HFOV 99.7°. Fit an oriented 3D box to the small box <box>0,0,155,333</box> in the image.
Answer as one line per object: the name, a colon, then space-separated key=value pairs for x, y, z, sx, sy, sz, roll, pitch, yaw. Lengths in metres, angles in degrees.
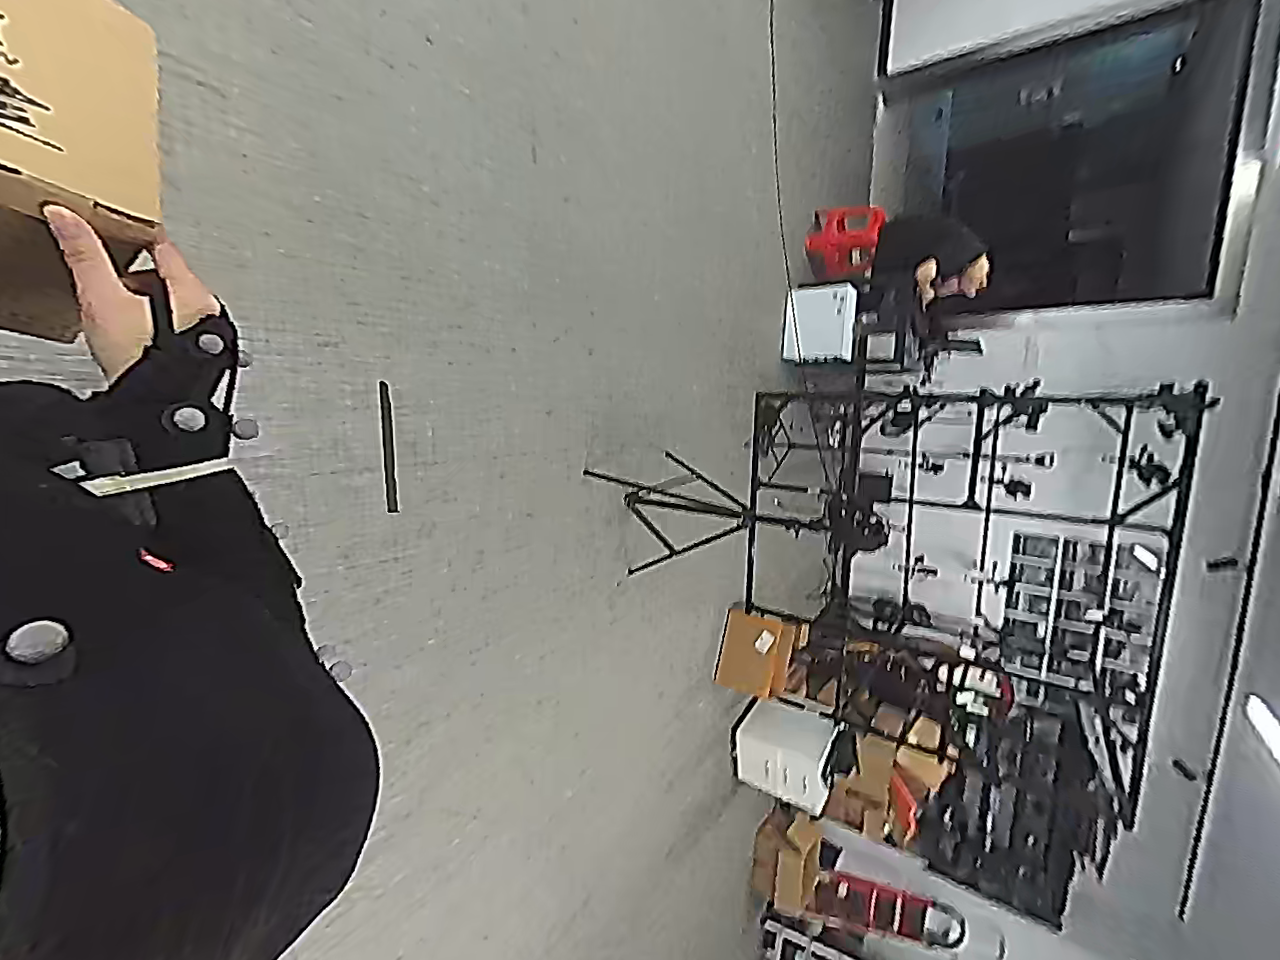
small box: x=-0.432 y=-0.218 z=0.328 sx=0.168 sy=0.176 sz=0.179 roll=11 pitch=61 yaw=-59
